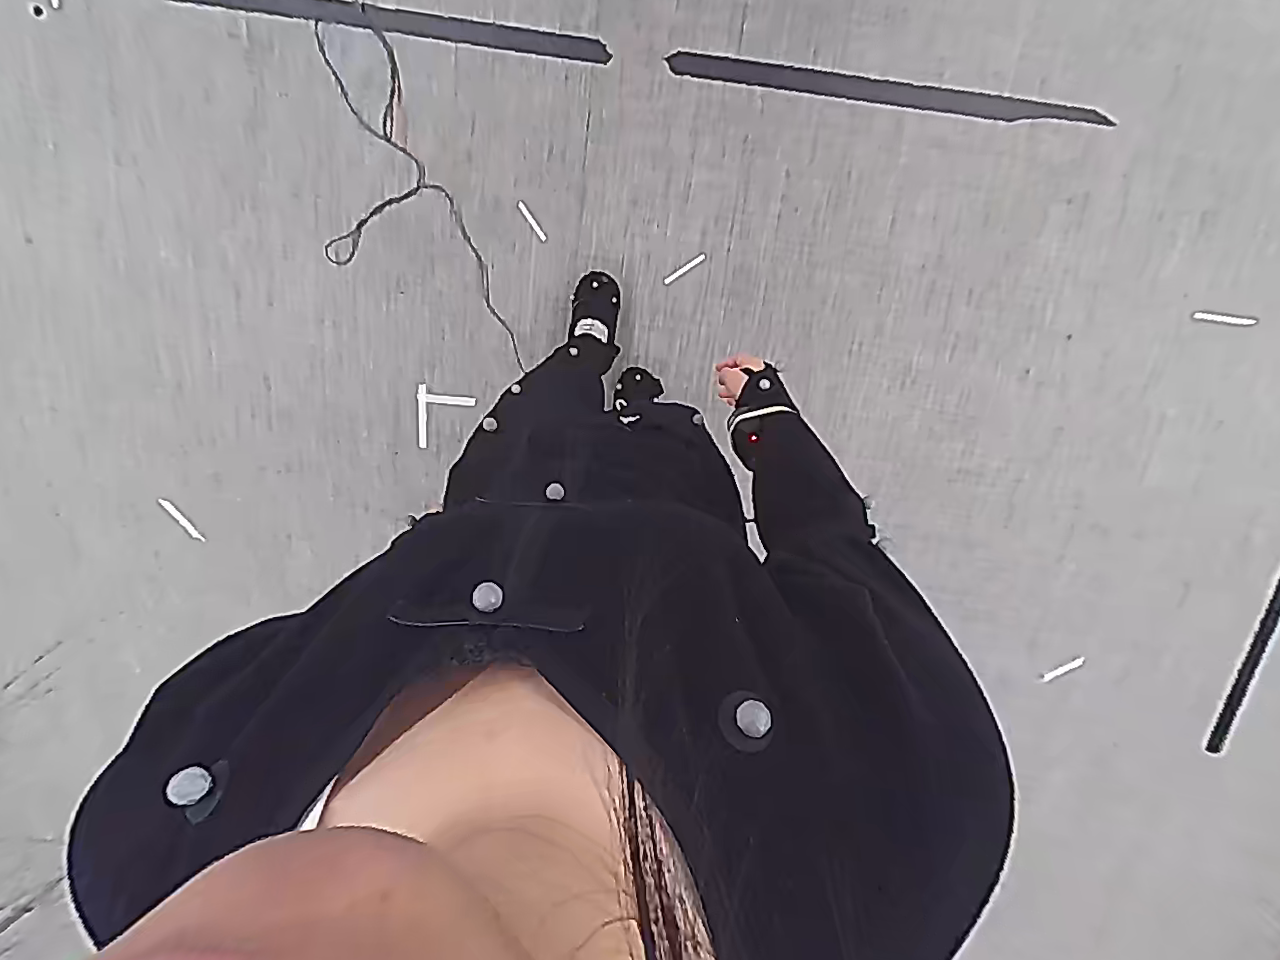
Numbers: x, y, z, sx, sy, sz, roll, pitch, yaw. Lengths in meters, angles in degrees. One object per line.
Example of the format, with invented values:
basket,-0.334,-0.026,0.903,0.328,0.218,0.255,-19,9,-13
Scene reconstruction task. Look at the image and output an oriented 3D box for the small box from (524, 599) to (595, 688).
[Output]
small box,-0.214,0.444,1.480,0.168,0.176,0.179,-2,103,1
